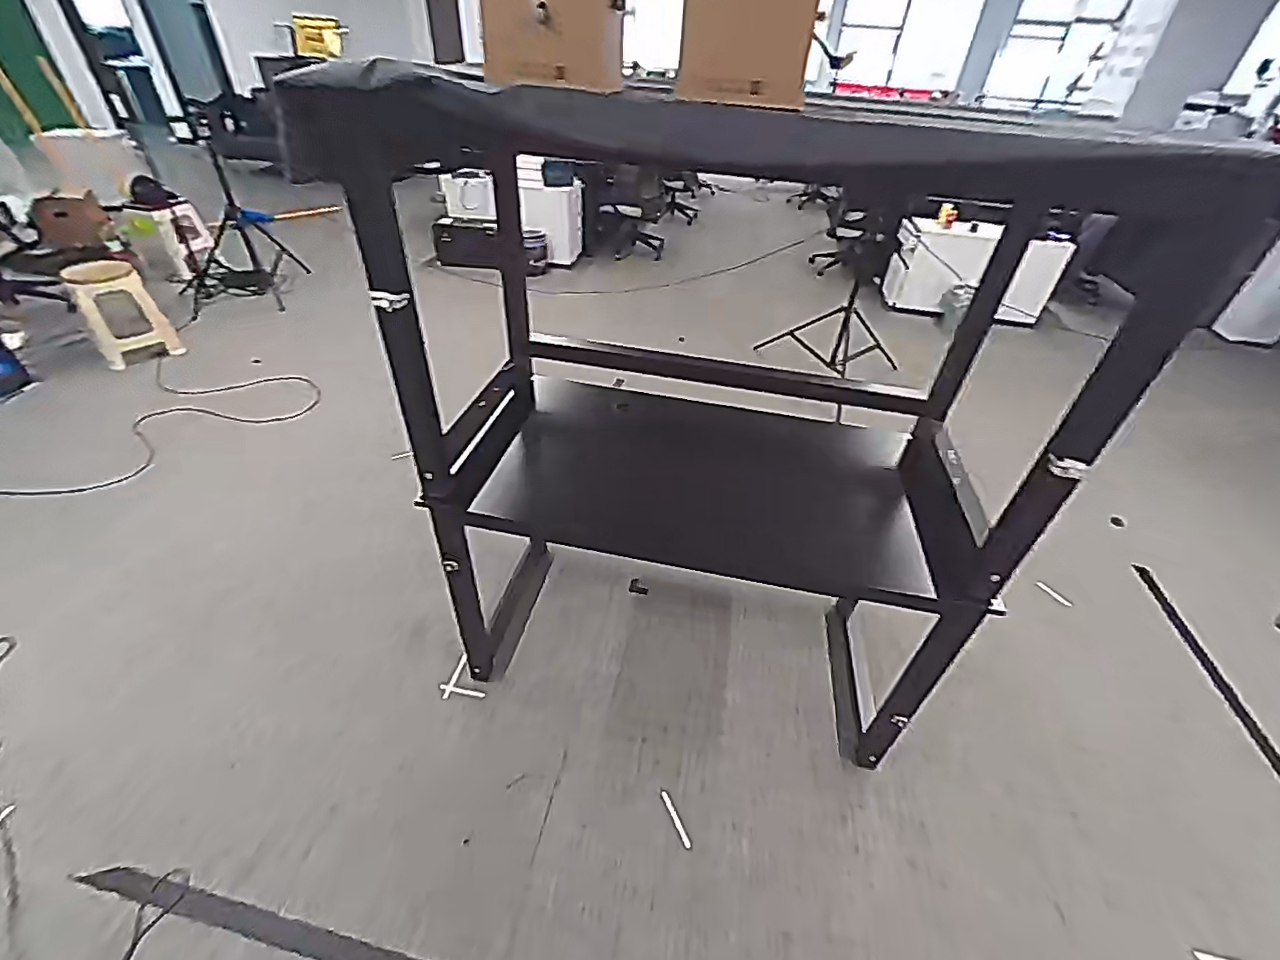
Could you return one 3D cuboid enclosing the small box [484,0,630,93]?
[{"bbox_3d":[-0.105,-0.635,0.733,0.168,0.176,0.179,8,38,3],"label":"small box"}]
